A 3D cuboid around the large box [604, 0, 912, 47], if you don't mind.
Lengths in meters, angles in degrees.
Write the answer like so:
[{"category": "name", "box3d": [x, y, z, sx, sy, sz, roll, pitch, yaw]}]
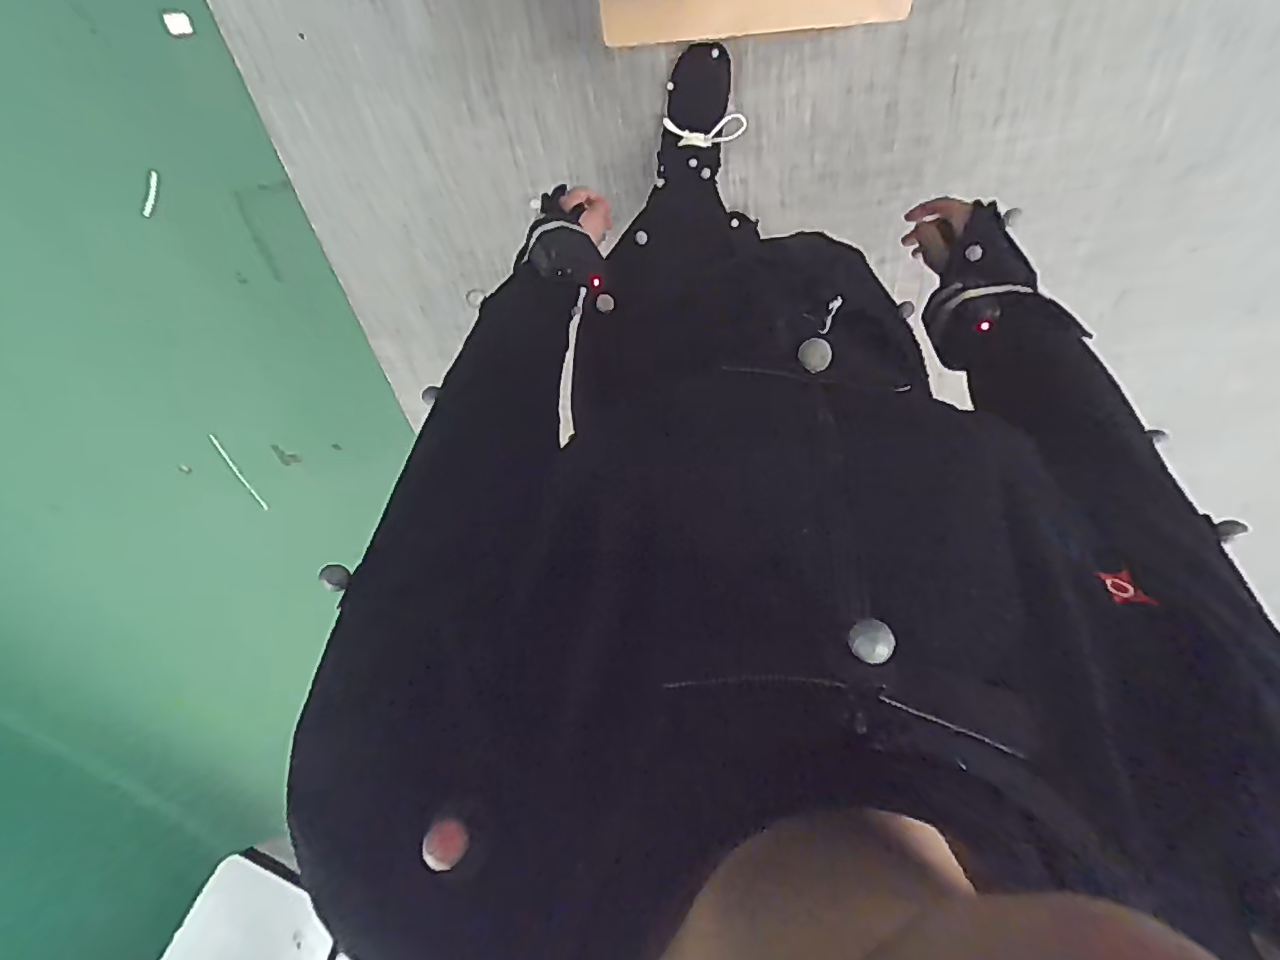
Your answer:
[{"category": "large box", "box3d": [0.147, -0.813, 0.740, 0.408, 0.320, 0.320, -1, 130, 5]}]
